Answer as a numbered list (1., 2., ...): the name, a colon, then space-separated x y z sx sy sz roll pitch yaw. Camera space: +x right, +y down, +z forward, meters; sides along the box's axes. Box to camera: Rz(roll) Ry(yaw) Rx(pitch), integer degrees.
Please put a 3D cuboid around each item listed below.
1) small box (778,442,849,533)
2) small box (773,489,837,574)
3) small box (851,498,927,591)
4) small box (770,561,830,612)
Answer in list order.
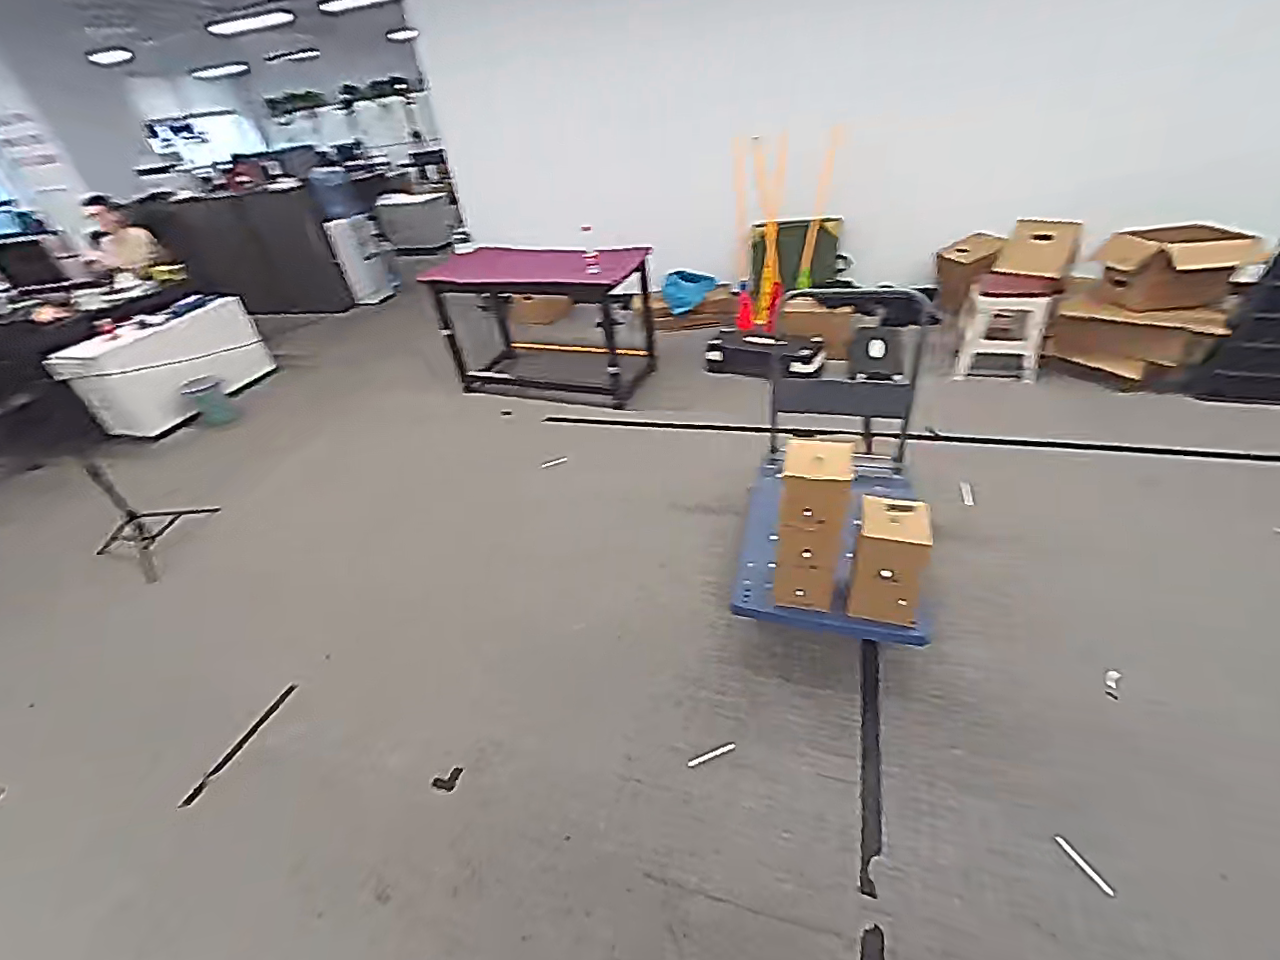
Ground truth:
1. small box: 0.470 0.018 1.470 0.168 0.176 0.179 6 38 16
2. small box: 0.476 0.150 1.567 0.168 0.176 0.179 5 39 15
3. small box: 0.684 0.176 1.496 0.168 0.176 0.179 7 39 19
4. small box: 0.494 0.281 1.665 0.168 0.176 0.179 6 38 16
